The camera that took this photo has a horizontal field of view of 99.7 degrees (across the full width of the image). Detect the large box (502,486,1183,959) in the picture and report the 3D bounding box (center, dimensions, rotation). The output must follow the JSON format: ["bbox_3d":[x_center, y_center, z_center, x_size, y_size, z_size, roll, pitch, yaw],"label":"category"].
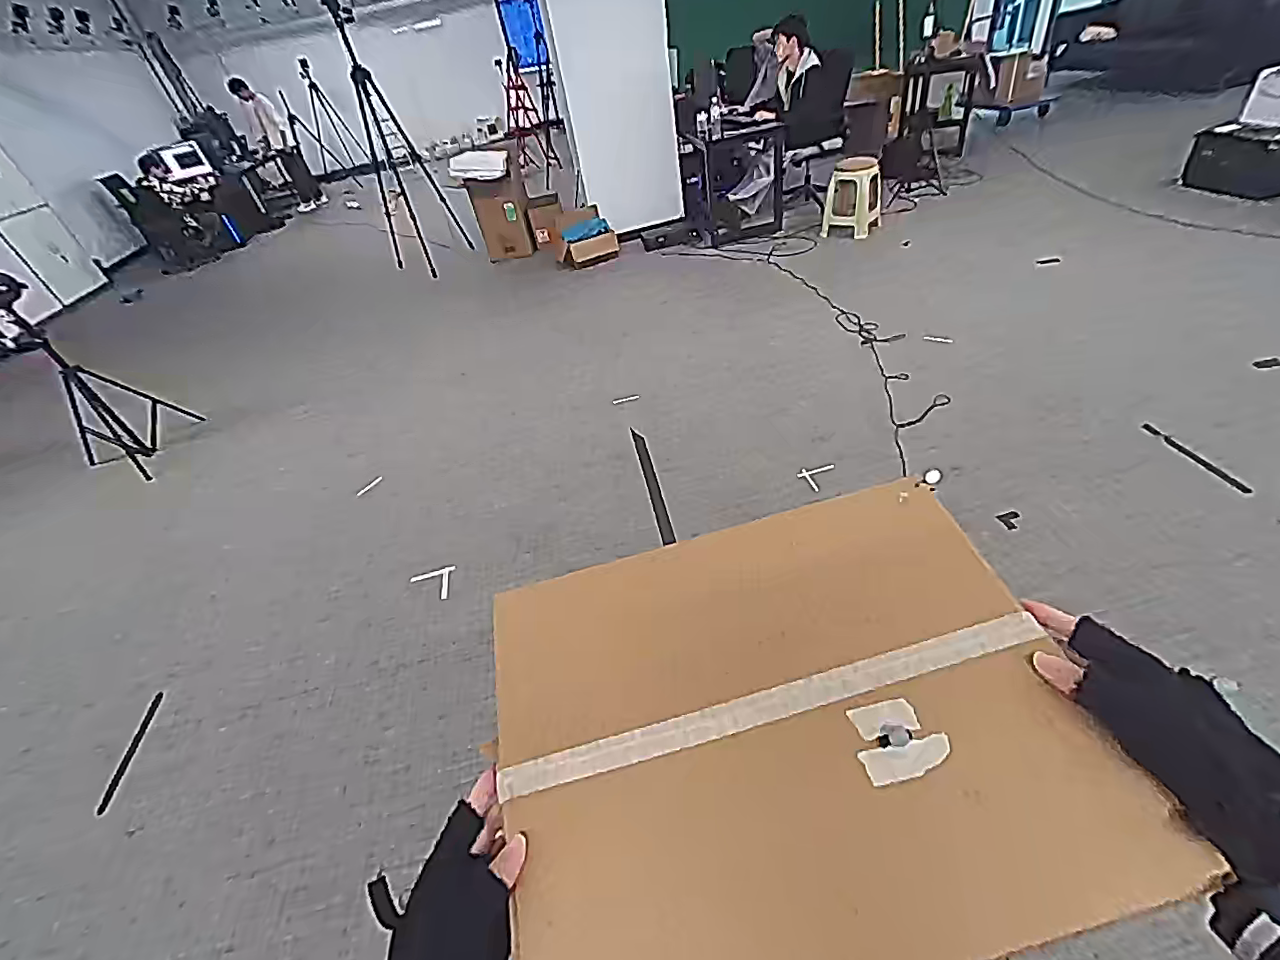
[{"bbox_3d":[0.119,0.264,0.518,0.408,0.320,0.320,-16,50,-3],"label":"large box"}]
